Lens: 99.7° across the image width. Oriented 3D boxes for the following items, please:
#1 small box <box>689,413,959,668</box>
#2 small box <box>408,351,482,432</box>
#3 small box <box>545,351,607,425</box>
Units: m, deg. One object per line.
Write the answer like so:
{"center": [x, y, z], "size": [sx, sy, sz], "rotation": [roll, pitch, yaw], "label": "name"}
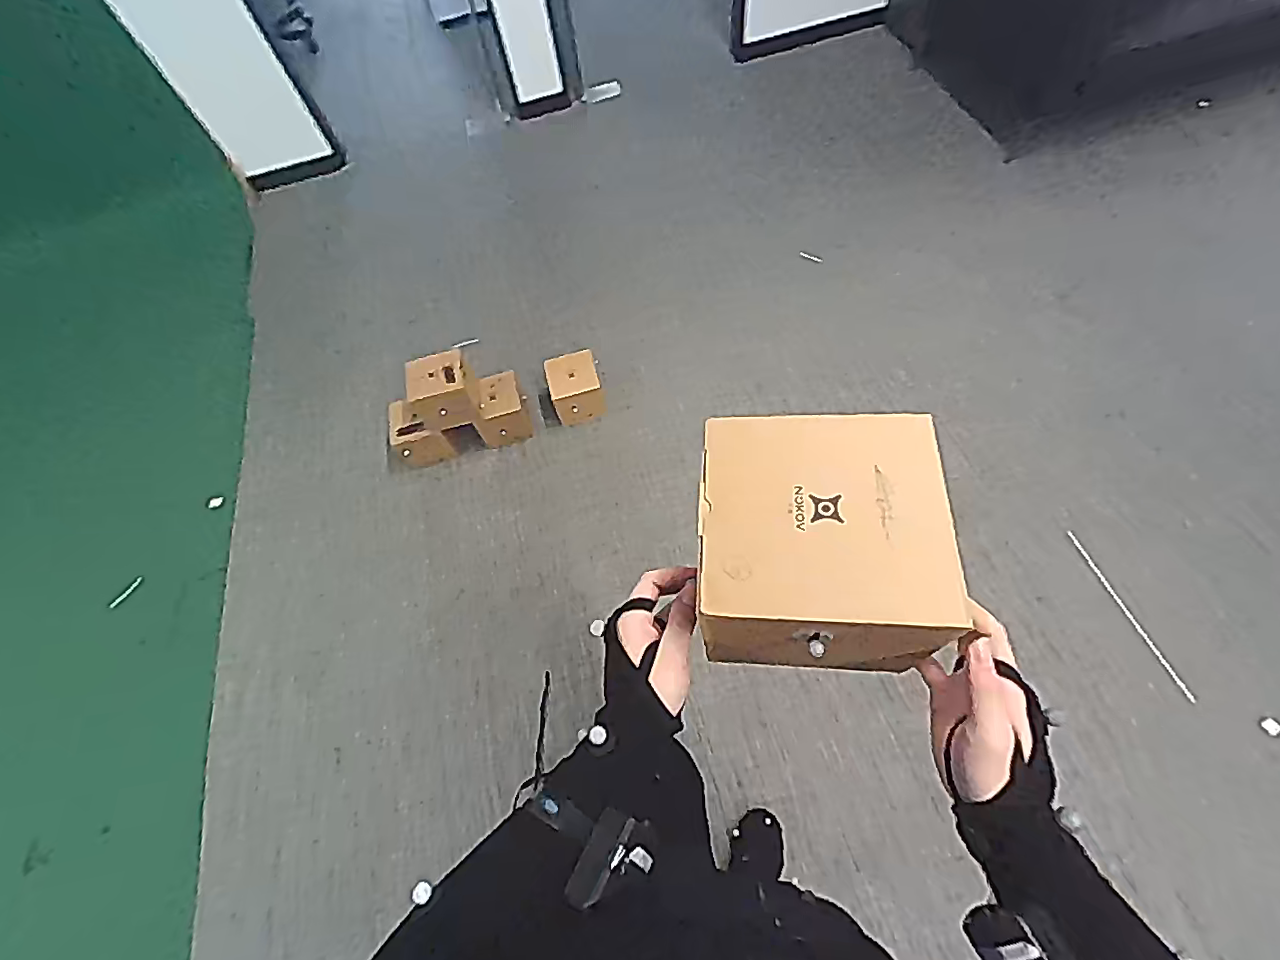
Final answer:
{"center": [0.139, 0.058, 0.466], "size": [0.179, 0.176, 0.168], "rotation": [1, 60, 9], "label": "small box"}
{"center": [-0.613, -0.276, 1.713], "size": [0.179, 0.176, 0.168], "rotation": [-15, 61, -1], "label": "small box"}
{"center": [-0.219, -0.310, 1.877], "size": [0.168, 0.176, 0.179], "rotation": [-16, 61, -2], "label": "small box"}
